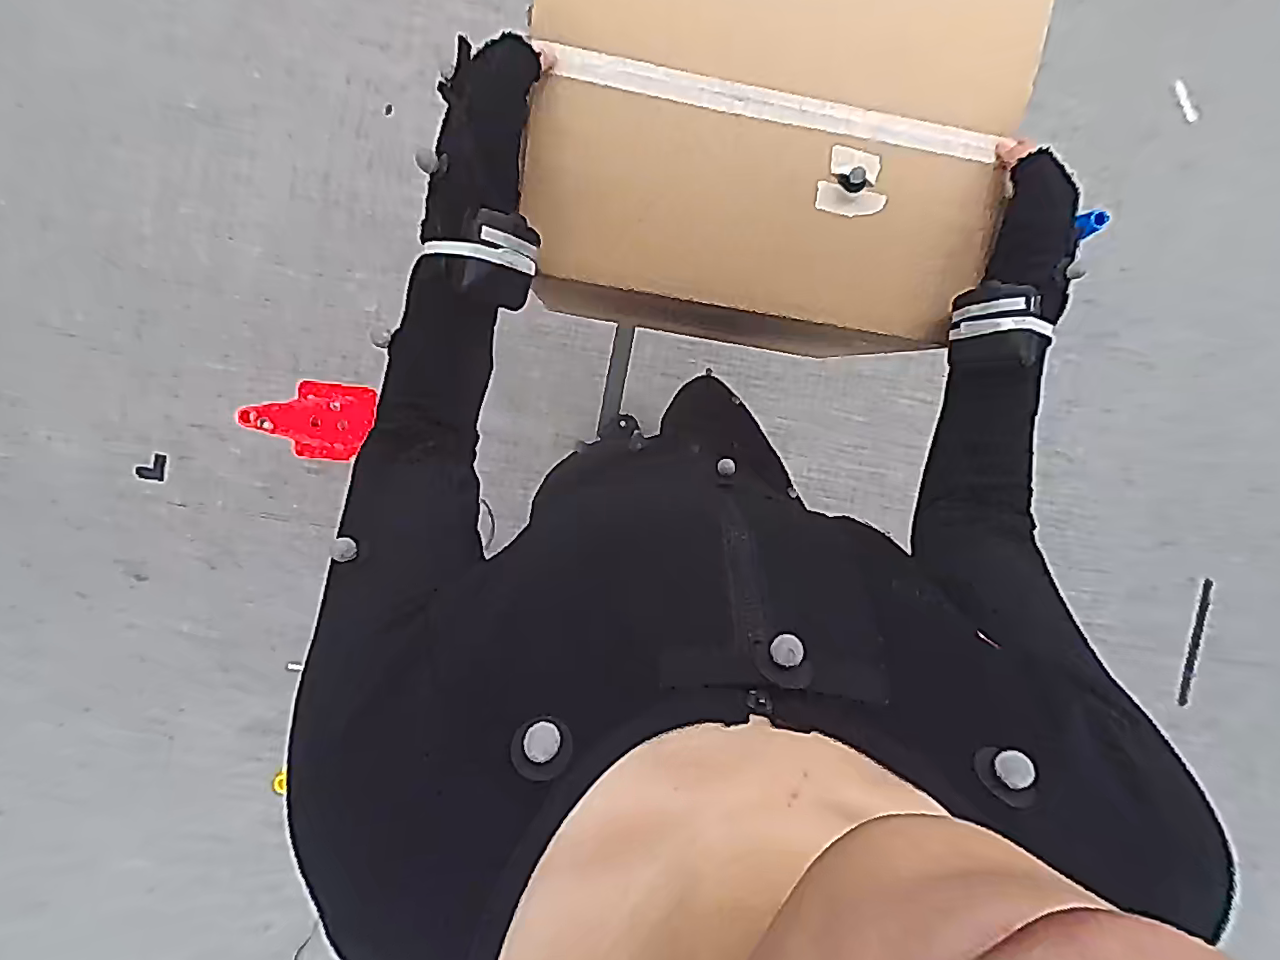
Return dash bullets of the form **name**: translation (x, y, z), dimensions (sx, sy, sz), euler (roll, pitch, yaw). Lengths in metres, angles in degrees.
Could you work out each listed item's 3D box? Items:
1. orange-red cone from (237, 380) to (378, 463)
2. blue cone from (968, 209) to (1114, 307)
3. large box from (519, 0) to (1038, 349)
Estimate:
- **orange-red cone**: translation (-0.774, -0.134, 1.229), dimensions (0.198, 0.360, 0.199), euler (7, 95, -3)
- **blue cone**: translation (0.959, -0.571, 1.322), dimensions (0.192, 0.380, 0.193), euler (13, 94, -6)
- **large box**: translation (0.100, -0.333, 0.586), dimensions (0.408, 0.320, 0.320), euler (8, 100, -6)
